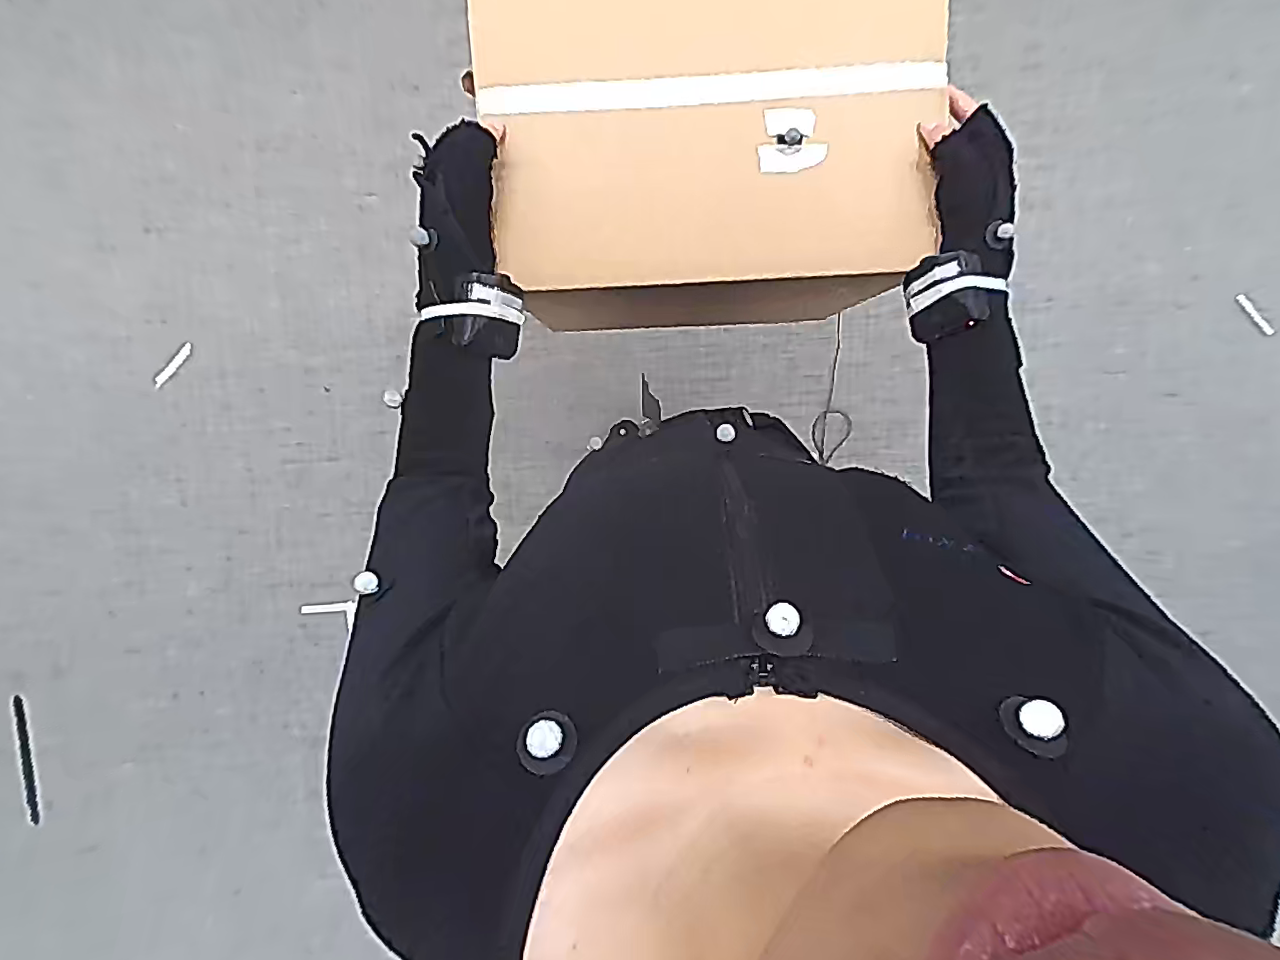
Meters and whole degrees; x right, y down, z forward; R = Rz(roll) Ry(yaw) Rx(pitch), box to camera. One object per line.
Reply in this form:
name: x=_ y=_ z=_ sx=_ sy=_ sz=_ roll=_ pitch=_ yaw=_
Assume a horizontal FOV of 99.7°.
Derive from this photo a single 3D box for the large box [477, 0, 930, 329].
large box: x=0.058 y=-0.366 z=0.634 sx=0.408 sy=0.320 sz=0.320 roll=-3 pitch=99 yaw=0
